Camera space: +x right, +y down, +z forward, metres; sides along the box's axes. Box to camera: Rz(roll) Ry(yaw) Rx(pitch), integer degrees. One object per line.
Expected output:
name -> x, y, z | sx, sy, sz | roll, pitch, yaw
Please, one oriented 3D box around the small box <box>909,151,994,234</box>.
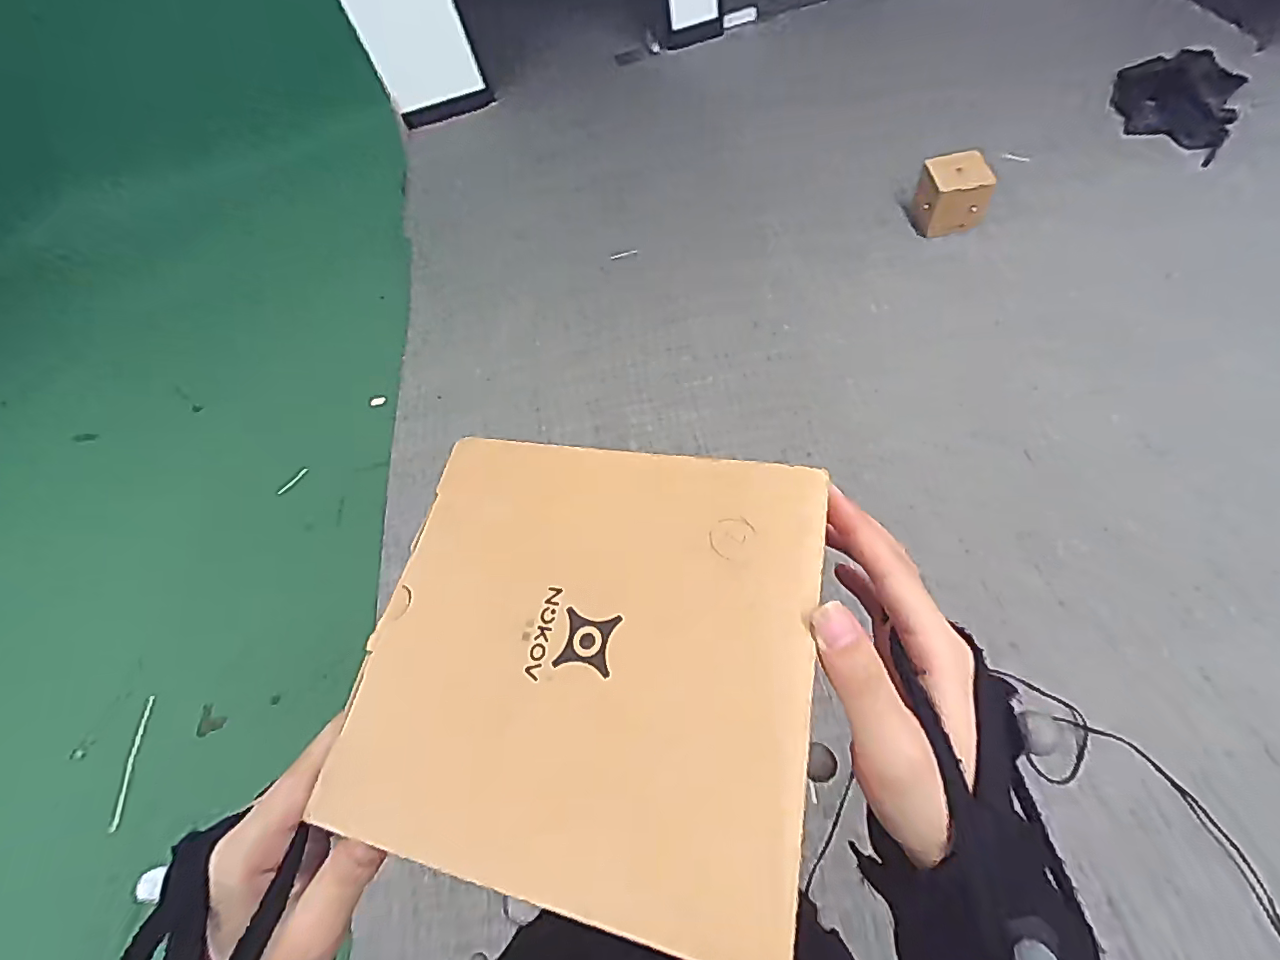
small box -> 1.002, -0.924, 1.754 | 0.168, 0.176, 0.179 | -7, 59, 6
